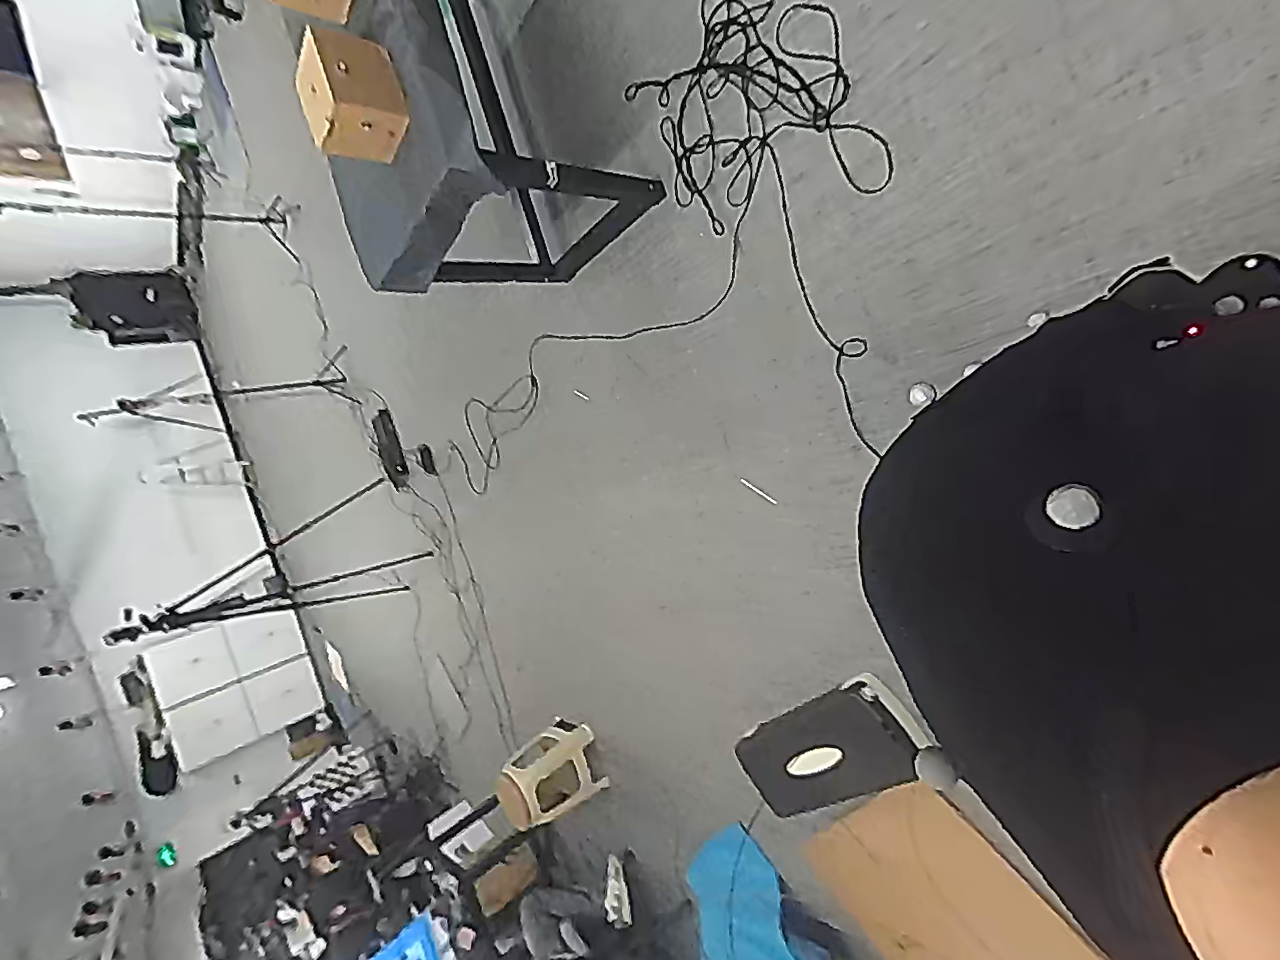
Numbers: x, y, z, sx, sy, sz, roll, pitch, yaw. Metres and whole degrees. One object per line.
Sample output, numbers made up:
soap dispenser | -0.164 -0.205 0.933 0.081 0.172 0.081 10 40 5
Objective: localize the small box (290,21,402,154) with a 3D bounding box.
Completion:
small box | -0.667 -0.877 1.233 0.168 0.176 0.179 -18 90 47

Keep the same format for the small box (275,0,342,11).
small box | -0.775 -1.218 1.224 0.168 0.176 0.179 -16 92 48
